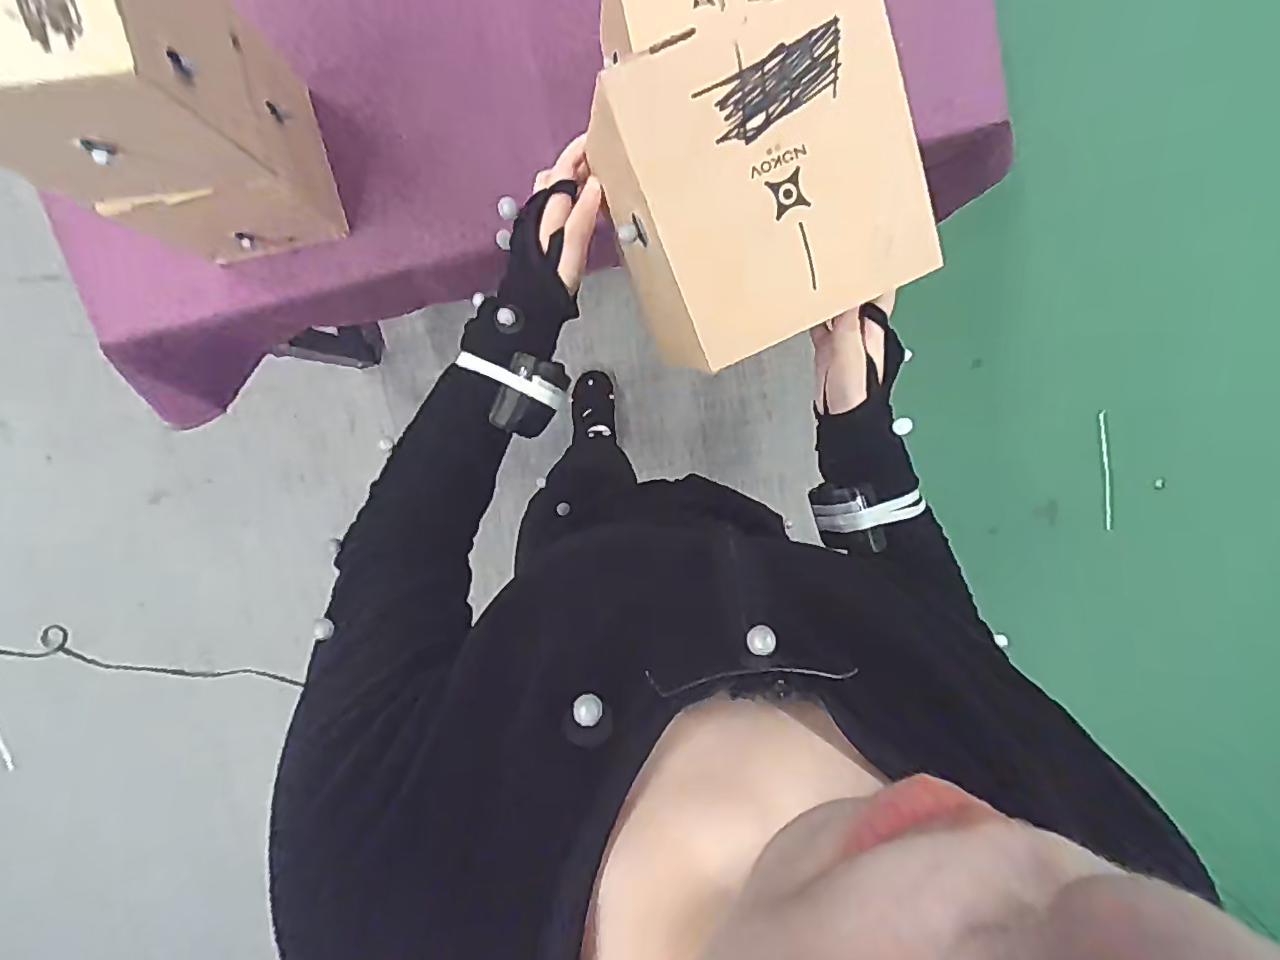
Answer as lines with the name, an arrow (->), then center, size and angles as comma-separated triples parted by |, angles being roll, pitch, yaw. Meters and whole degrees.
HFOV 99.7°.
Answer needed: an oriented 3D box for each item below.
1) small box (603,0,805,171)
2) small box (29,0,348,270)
small box -> 0.058, -0.475, 0.604 | 0.179, 0.176, 0.168 | -14, 100, -4
small box -> -0.446, -0.344, 0.570 | 0.168, 0.176, 0.179 | -15, 100, -4
